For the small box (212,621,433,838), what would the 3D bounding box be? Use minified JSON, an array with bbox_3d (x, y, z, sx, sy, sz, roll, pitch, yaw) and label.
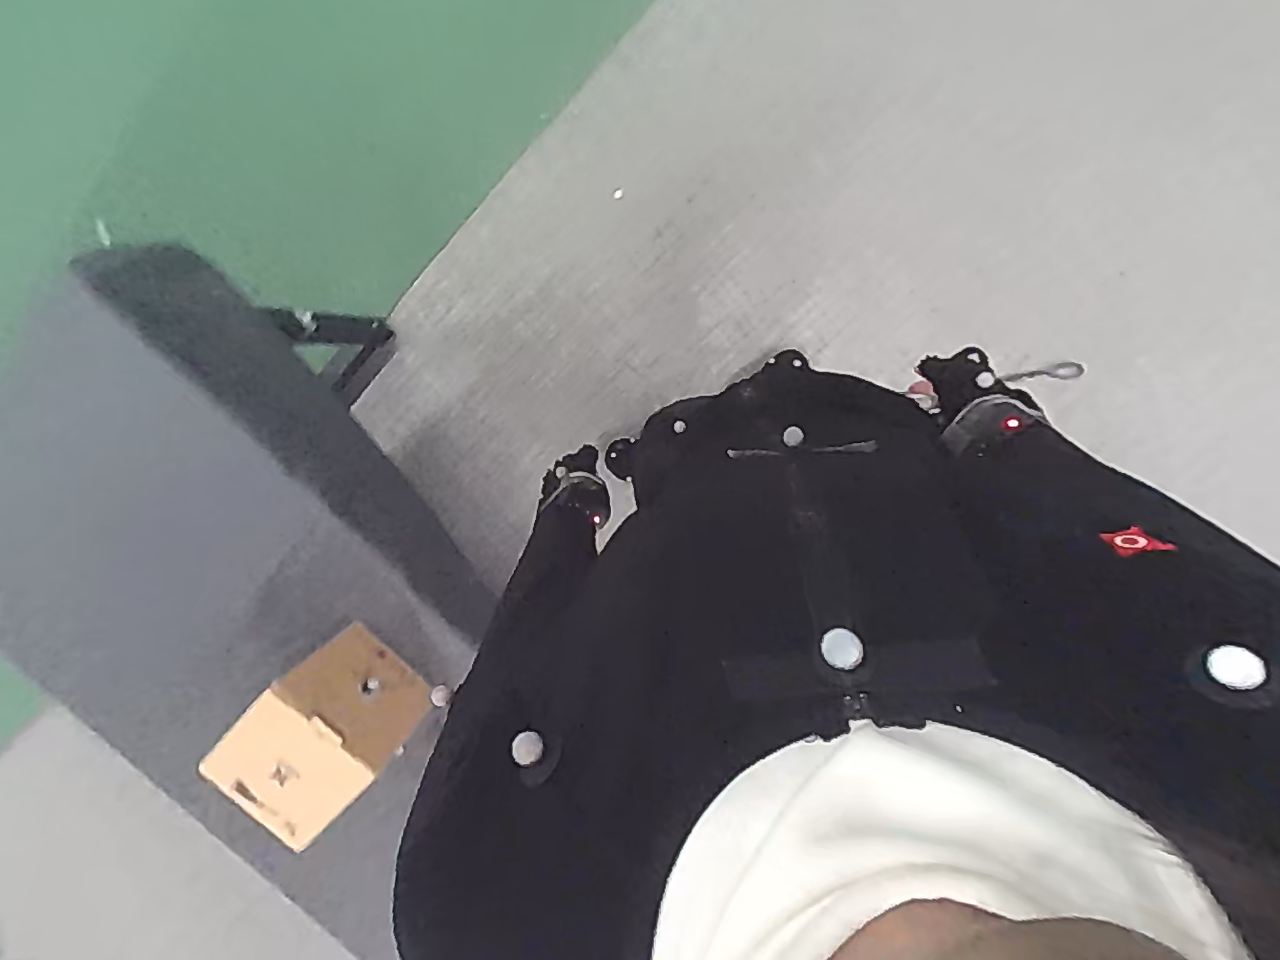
[{"bbox_3d":[-0.419,0.332,0.750,0.168,0.176,0.179,44,104,-5],"label":"small box"}]
